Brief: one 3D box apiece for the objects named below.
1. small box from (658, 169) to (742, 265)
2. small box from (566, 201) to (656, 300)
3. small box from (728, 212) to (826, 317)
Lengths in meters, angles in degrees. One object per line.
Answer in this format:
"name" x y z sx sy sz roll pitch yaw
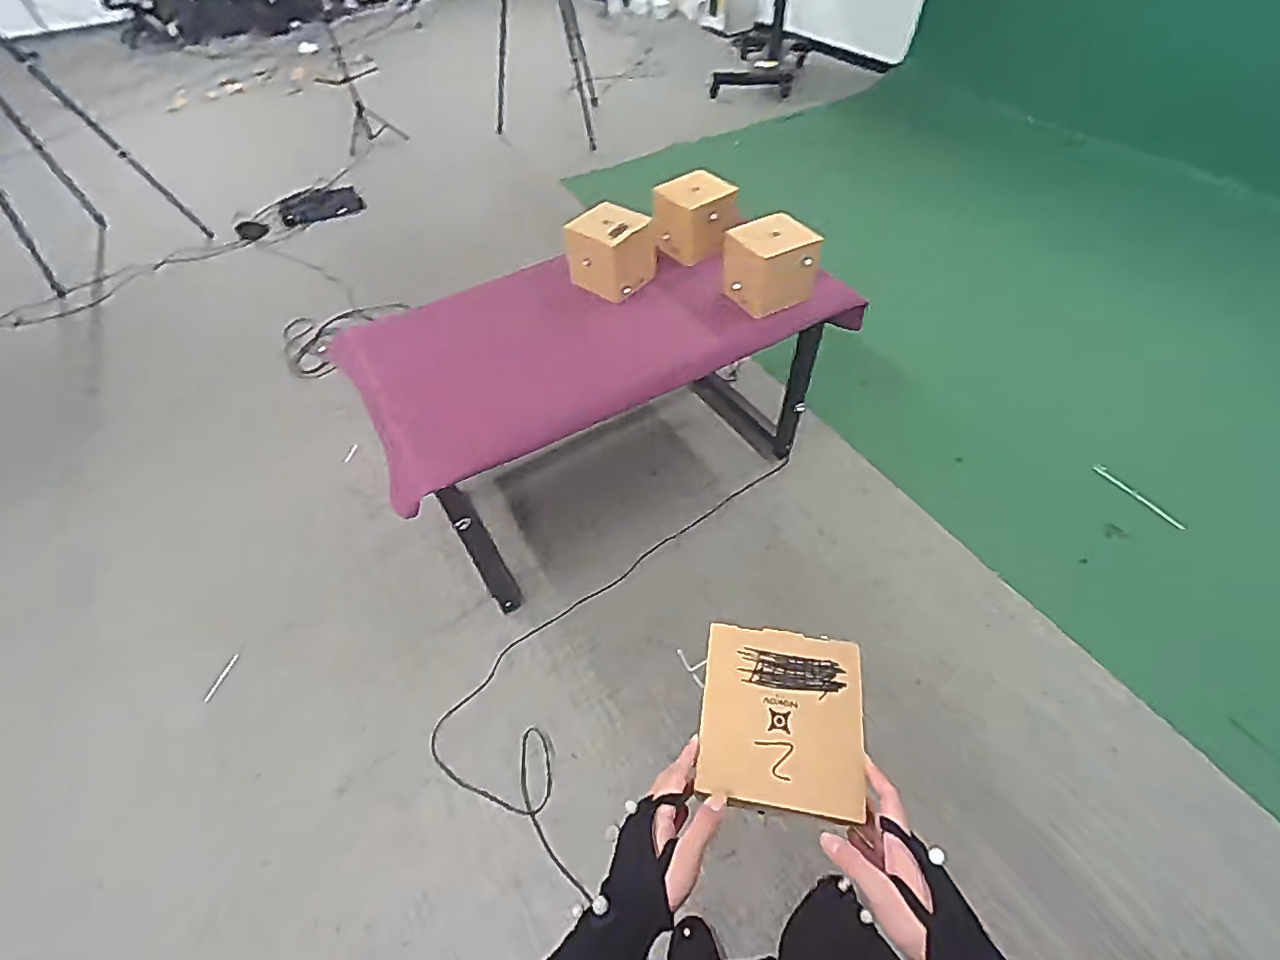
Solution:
"small box" 0.167 -0.754 1.553 0.179 0.176 0.168 -32 58 -18
"small box" -0.070 -0.615 1.461 0.179 0.176 0.168 33 61 25
"small box" 0.340 -0.549 1.381 0.179 0.176 0.168 -24 54 -13
